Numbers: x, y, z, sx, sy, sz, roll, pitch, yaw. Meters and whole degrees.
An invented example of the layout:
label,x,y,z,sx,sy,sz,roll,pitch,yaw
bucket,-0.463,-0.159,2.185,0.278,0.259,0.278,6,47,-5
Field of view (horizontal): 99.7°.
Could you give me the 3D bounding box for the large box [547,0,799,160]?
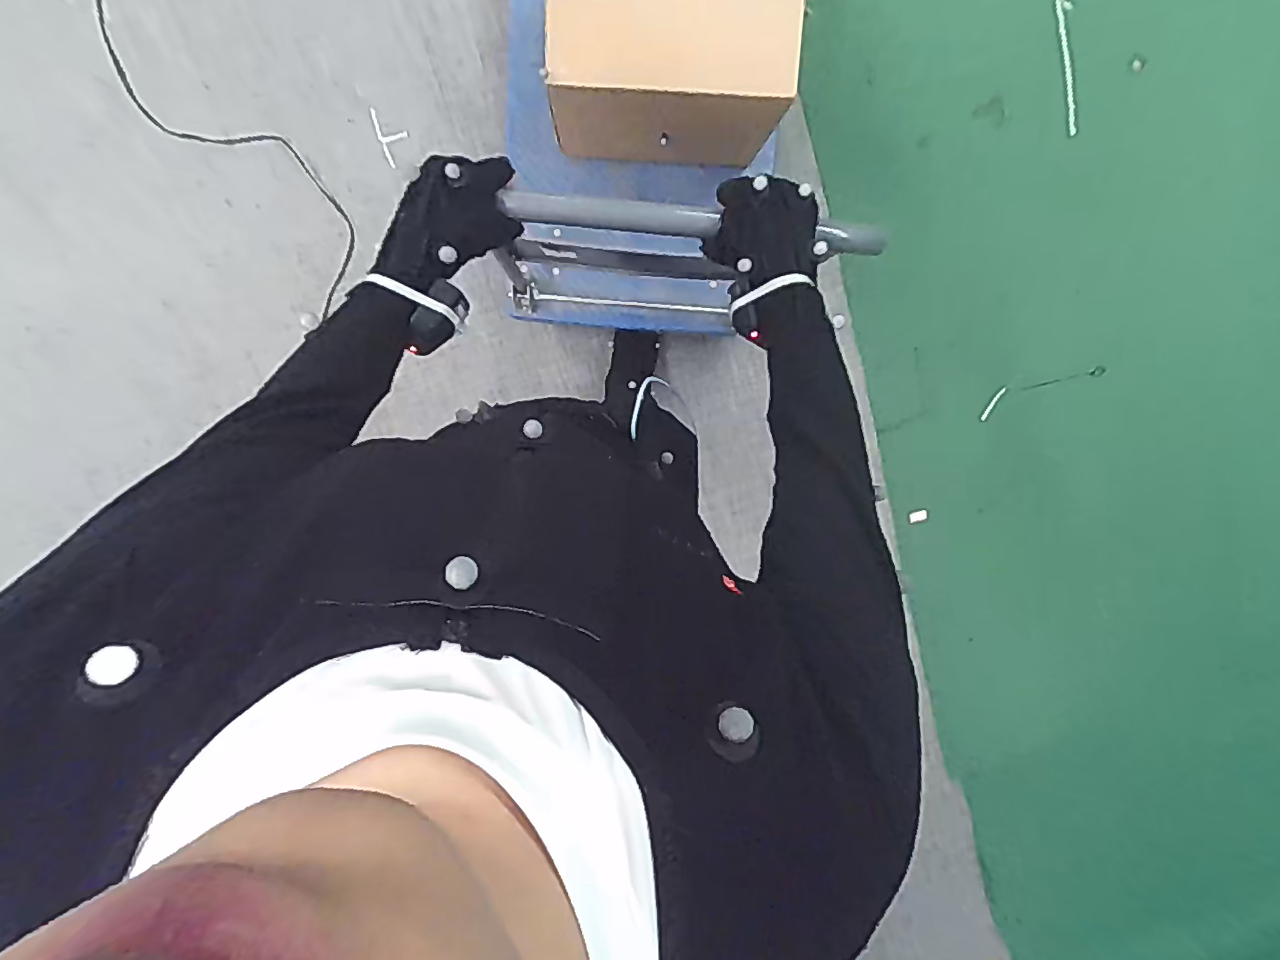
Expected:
label,x,y,z,sx,sy,sz,roll,pitch,yaw
large box,0.049,-0.805,0.982,0.408,0.320,0.320,1,101,-3
